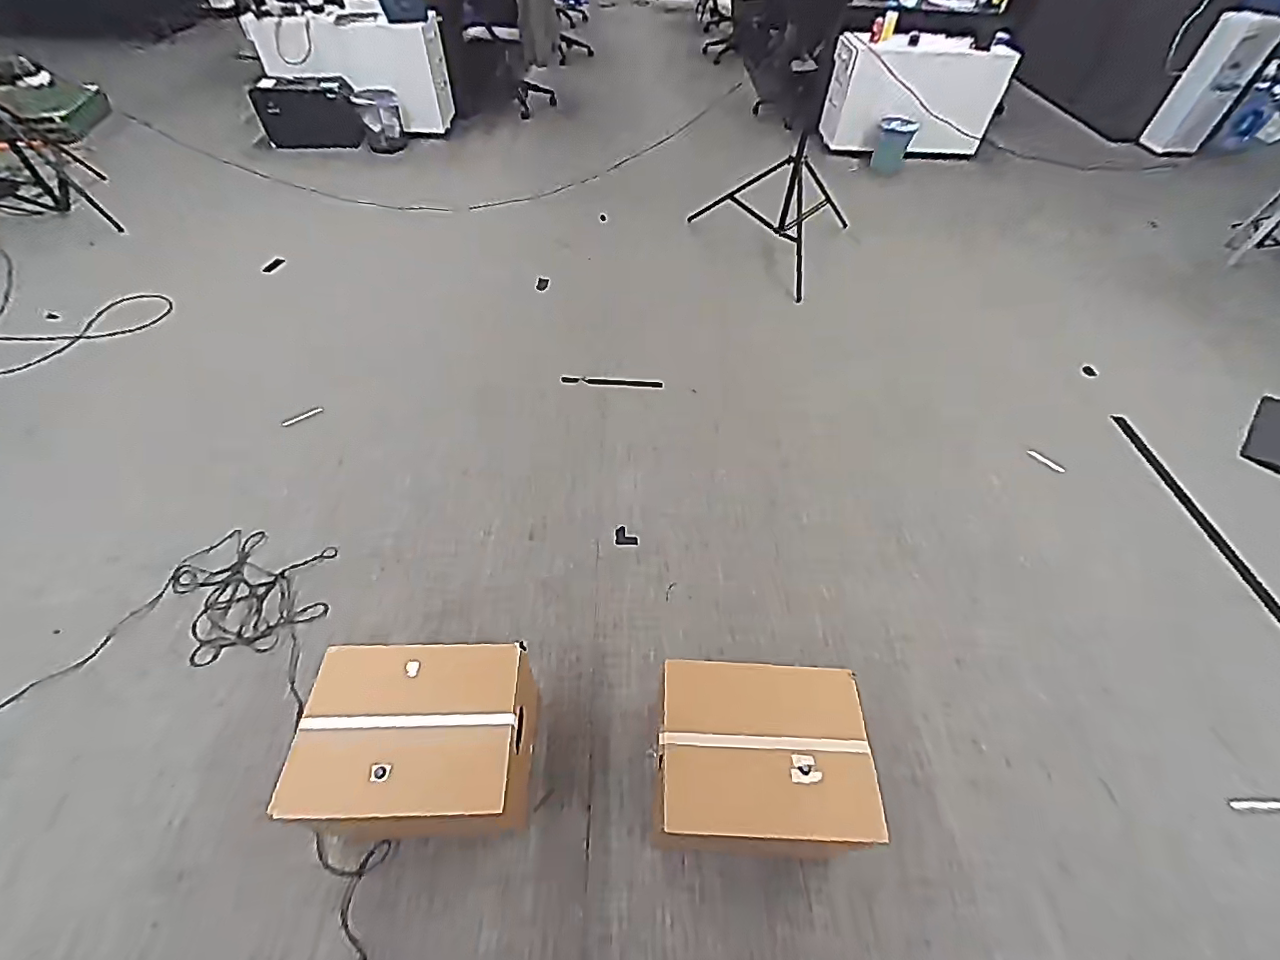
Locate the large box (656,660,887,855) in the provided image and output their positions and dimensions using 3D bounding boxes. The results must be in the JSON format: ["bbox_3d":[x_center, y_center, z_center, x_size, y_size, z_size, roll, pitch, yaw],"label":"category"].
[{"bbox_3d":[0.243,0.608,1.175,0.408,0.320,0.320,4,51,-1],"label":"large box"}]
